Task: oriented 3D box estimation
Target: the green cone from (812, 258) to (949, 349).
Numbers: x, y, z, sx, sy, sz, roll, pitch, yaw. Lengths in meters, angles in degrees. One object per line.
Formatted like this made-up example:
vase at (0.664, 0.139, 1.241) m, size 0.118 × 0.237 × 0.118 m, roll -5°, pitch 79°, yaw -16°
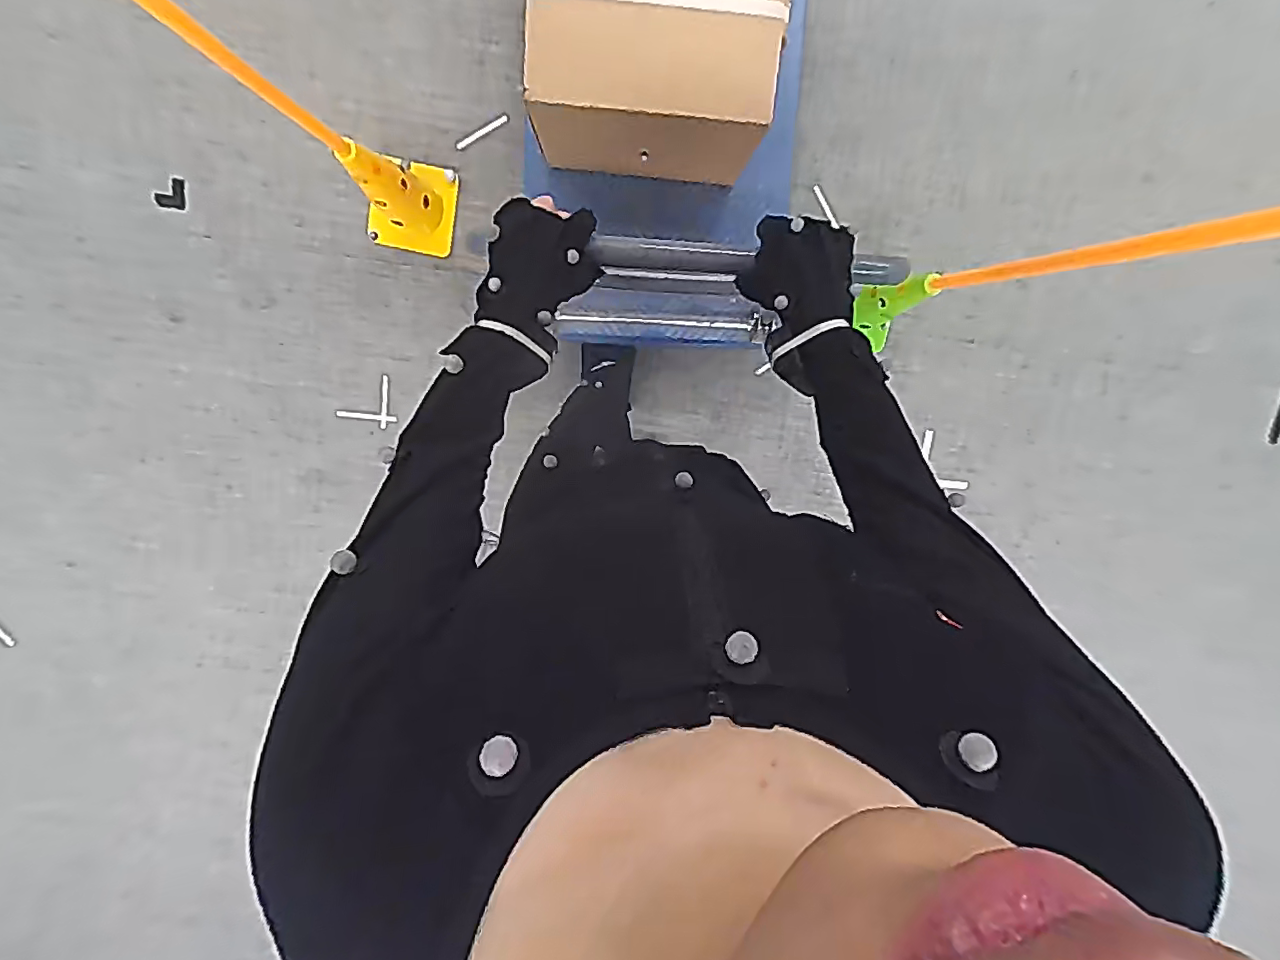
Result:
green cone at (0.569, -0.420, 1.230) m, size 0.202 × 0.368 × 0.200 m, roll 11°, pitch 101°, yaw -6°

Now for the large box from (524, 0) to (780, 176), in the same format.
large box at (0.019, -0.779, 0.986) m, size 0.408 × 0.320 × 0.320 m, roll 4°, pitch 102°, yaw -3°
